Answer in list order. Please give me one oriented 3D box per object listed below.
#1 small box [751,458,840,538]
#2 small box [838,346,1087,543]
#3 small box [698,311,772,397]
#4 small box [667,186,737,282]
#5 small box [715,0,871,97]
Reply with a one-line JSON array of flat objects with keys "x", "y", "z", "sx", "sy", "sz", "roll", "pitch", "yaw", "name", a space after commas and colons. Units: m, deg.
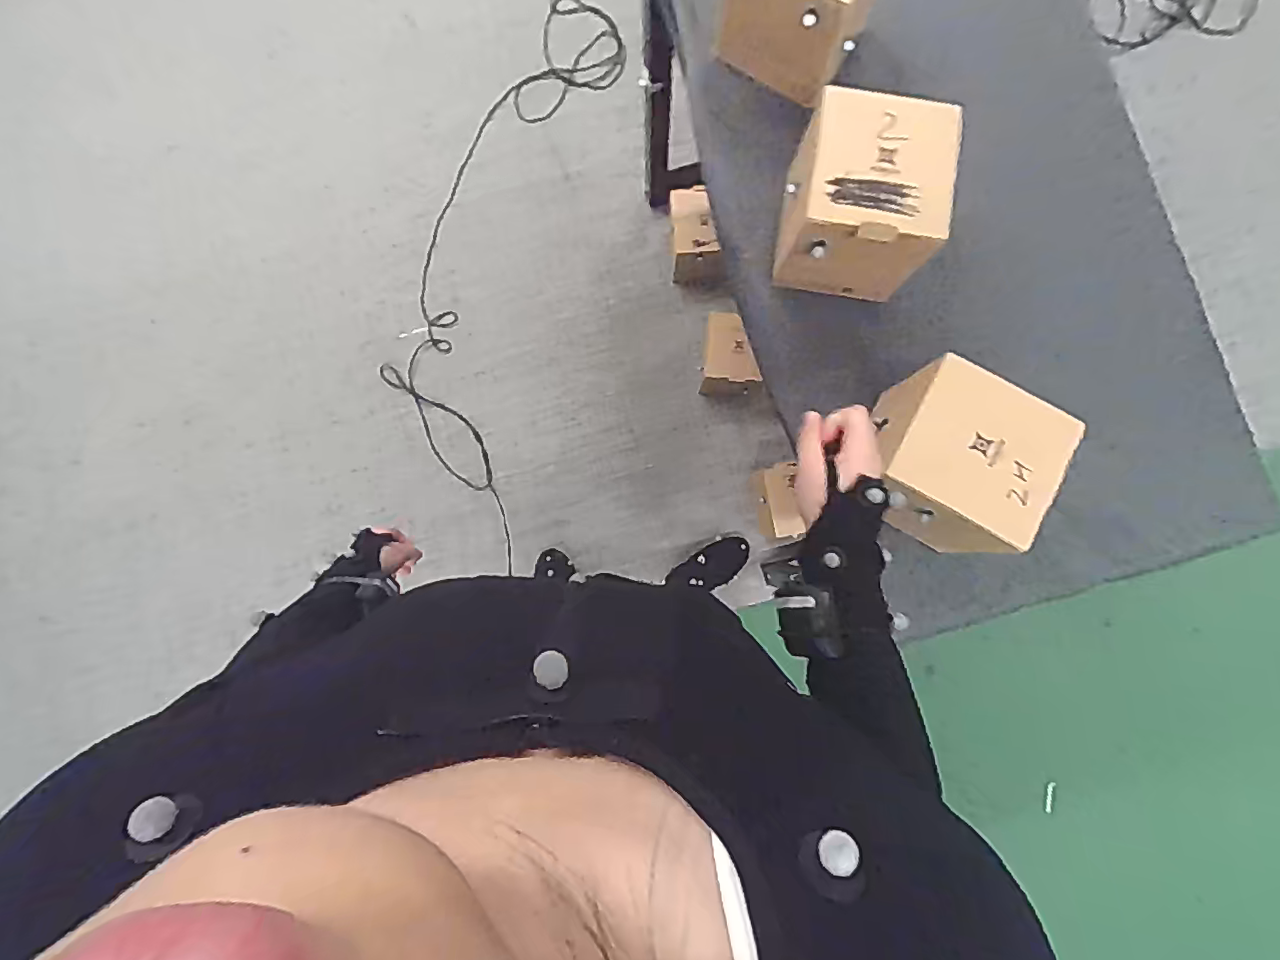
[{"x": 0.394, "y": 0.050, "z": 1.399, "sx": 0.168, "sy": 0.176, "sz": 0.179, "roll": -10, "pitch": 86, "yaw": 0, "name": "small box"}, {"x": 0.379, "y": -0.029, "z": 0.671, "sx": 0.179, "sy": 0.176, "sz": 0.168, "roll": 30, "pitch": 83, "yaw": 3, "name": "small box"}, {"x": 0.247, "y": -0.327, "z": 1.437, "sx": 0.168, "sy": 0.176, "sz": 0.179, "roll": 4, "pitch": 83, "yaw": 0, "name": "small box"}, {"x": 0.163, "y": -0.663, "z": 1.469, "sx": 0.168, "sy": 0.176, "sz": 0.179, "roll": -4, "pitch": 84, "yaw": 1, "name": "small box"}, {"x": 0.220, "y": -0.682, "z": 0.740, "sx": 0.179, "sy": 0.176, "sz": 0.168, "roll": 31, "pitch": 86, "yaw": 3, "name": "small box"}]
